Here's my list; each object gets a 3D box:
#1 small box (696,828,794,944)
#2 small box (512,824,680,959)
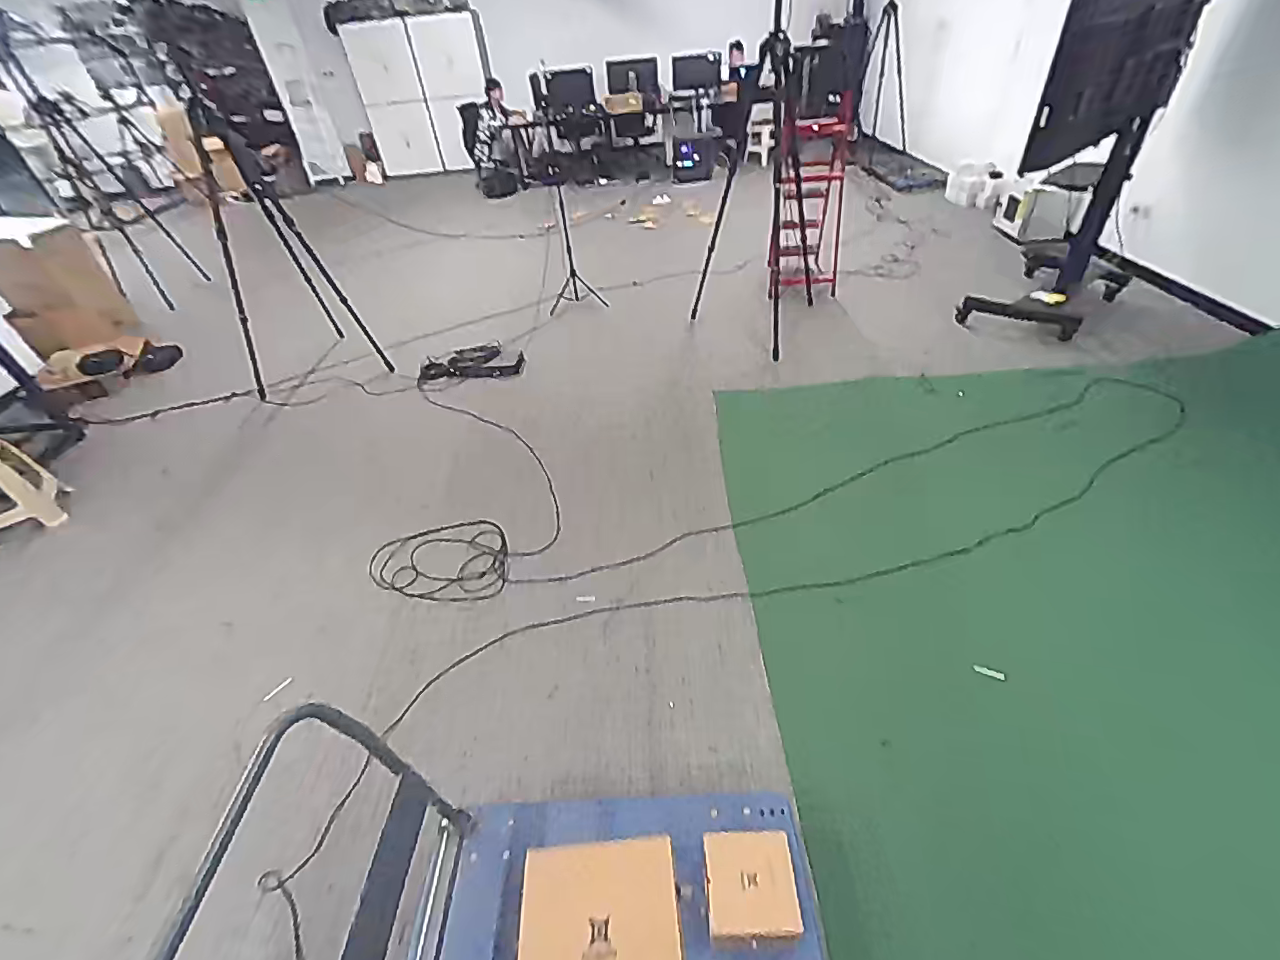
[{"bbox_3d":[0.212,0.841,1.120,0.179,0.176,0.168,-3,42,4],"label":"small box"},{"bbox_3d":[-0.041,0.512,0.602,0.168,0.176,0.179,-5,42,1],"label":"small box"}]
